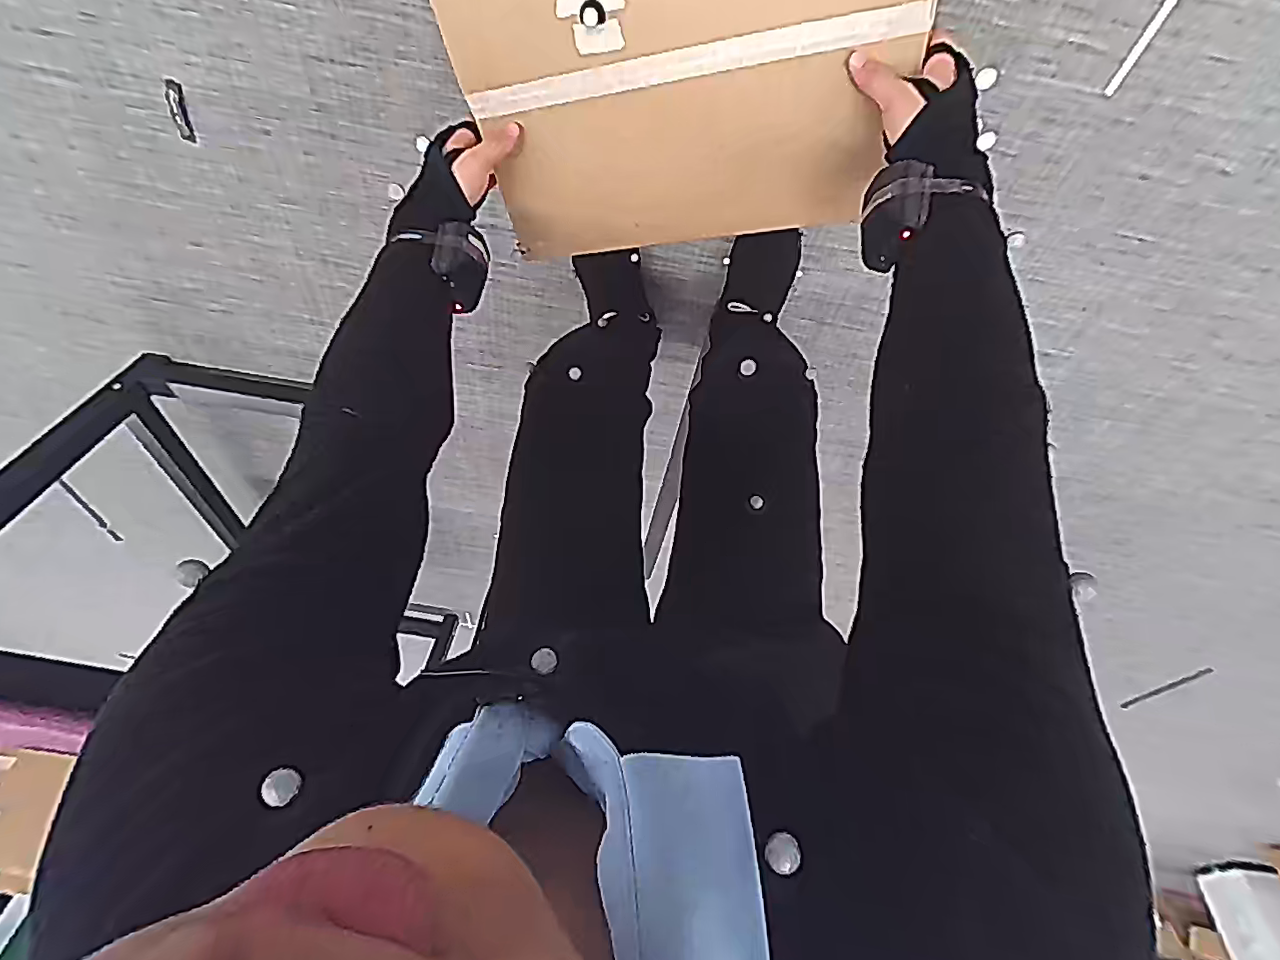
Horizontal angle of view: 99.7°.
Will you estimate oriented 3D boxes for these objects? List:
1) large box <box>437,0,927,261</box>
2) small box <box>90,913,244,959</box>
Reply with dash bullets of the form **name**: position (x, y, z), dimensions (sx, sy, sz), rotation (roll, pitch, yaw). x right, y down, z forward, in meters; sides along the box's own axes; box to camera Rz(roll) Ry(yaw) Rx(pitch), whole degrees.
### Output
- **large box**: position (0.055, -0.473, 0.567), dimensions (0.408, 0.320, 0.320), rotation (-2, 137, 13)
- **small box**: position (-0.886, 0.919, 0.989), dimensions (0.168, 0.176, 0.179), rotation (4, 138, 9)
